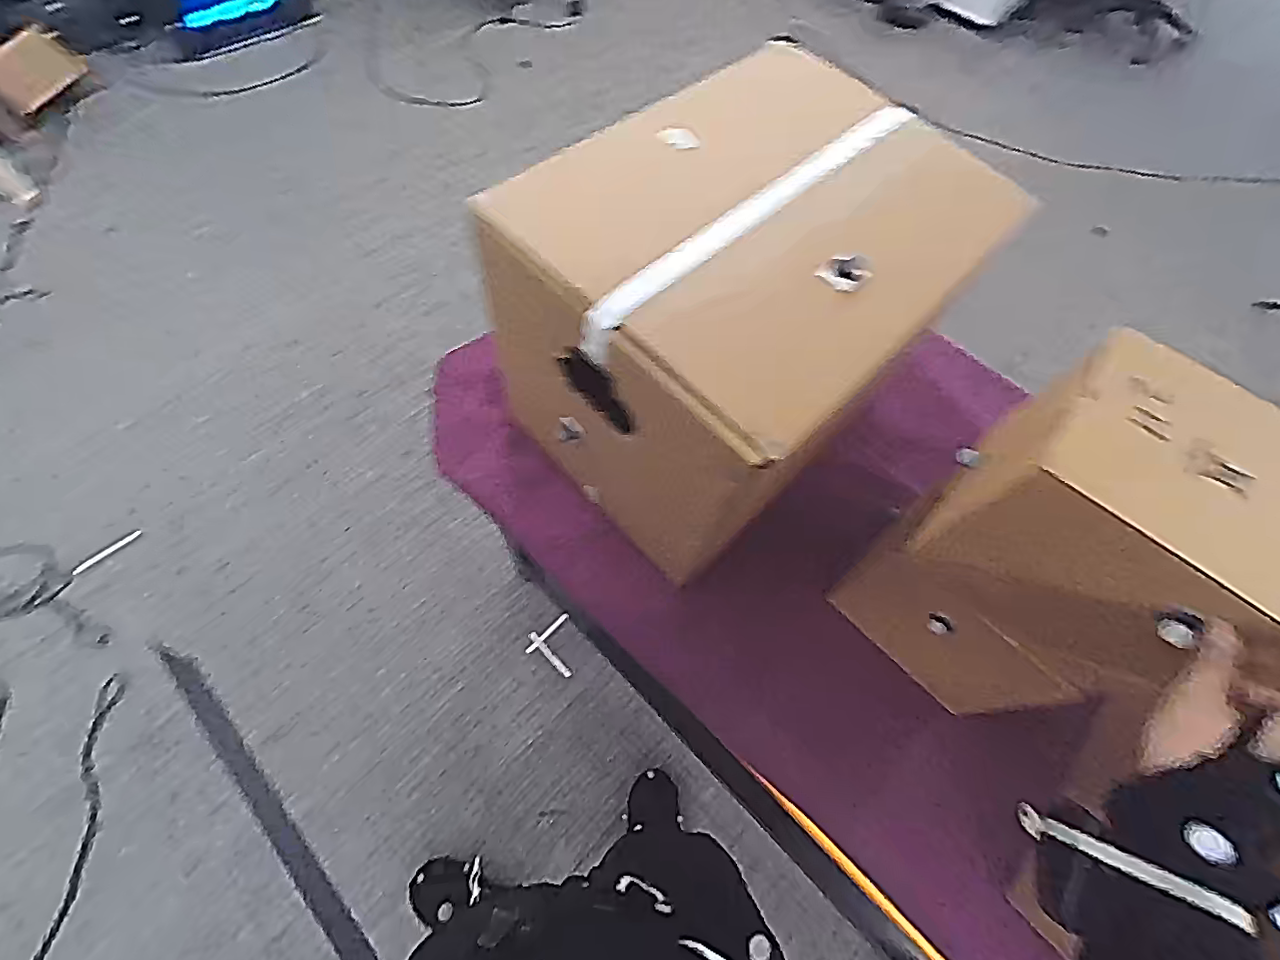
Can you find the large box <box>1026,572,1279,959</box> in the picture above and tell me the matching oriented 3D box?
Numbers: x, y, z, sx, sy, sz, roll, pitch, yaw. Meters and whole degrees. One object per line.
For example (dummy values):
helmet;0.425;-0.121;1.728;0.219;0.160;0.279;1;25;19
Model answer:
large box;0.596;0.296;0.396;0.320;0.320;0.408;43;66;15
